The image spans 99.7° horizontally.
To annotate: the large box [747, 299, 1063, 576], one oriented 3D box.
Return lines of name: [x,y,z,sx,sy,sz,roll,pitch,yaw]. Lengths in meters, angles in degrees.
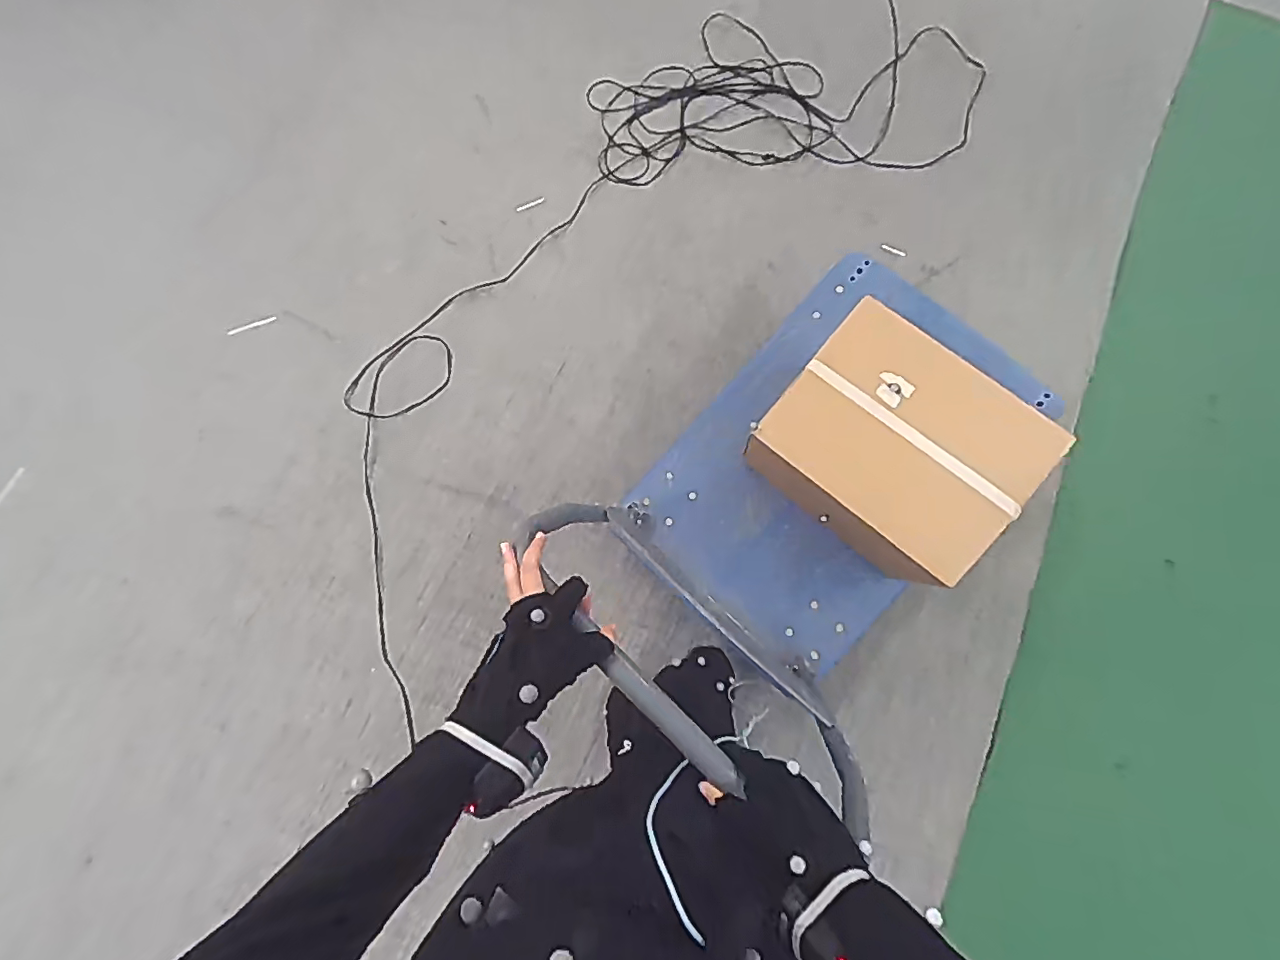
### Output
large box: [0.462,-0.065,1.053,0.408,0.320,0.320,39,91,11]
